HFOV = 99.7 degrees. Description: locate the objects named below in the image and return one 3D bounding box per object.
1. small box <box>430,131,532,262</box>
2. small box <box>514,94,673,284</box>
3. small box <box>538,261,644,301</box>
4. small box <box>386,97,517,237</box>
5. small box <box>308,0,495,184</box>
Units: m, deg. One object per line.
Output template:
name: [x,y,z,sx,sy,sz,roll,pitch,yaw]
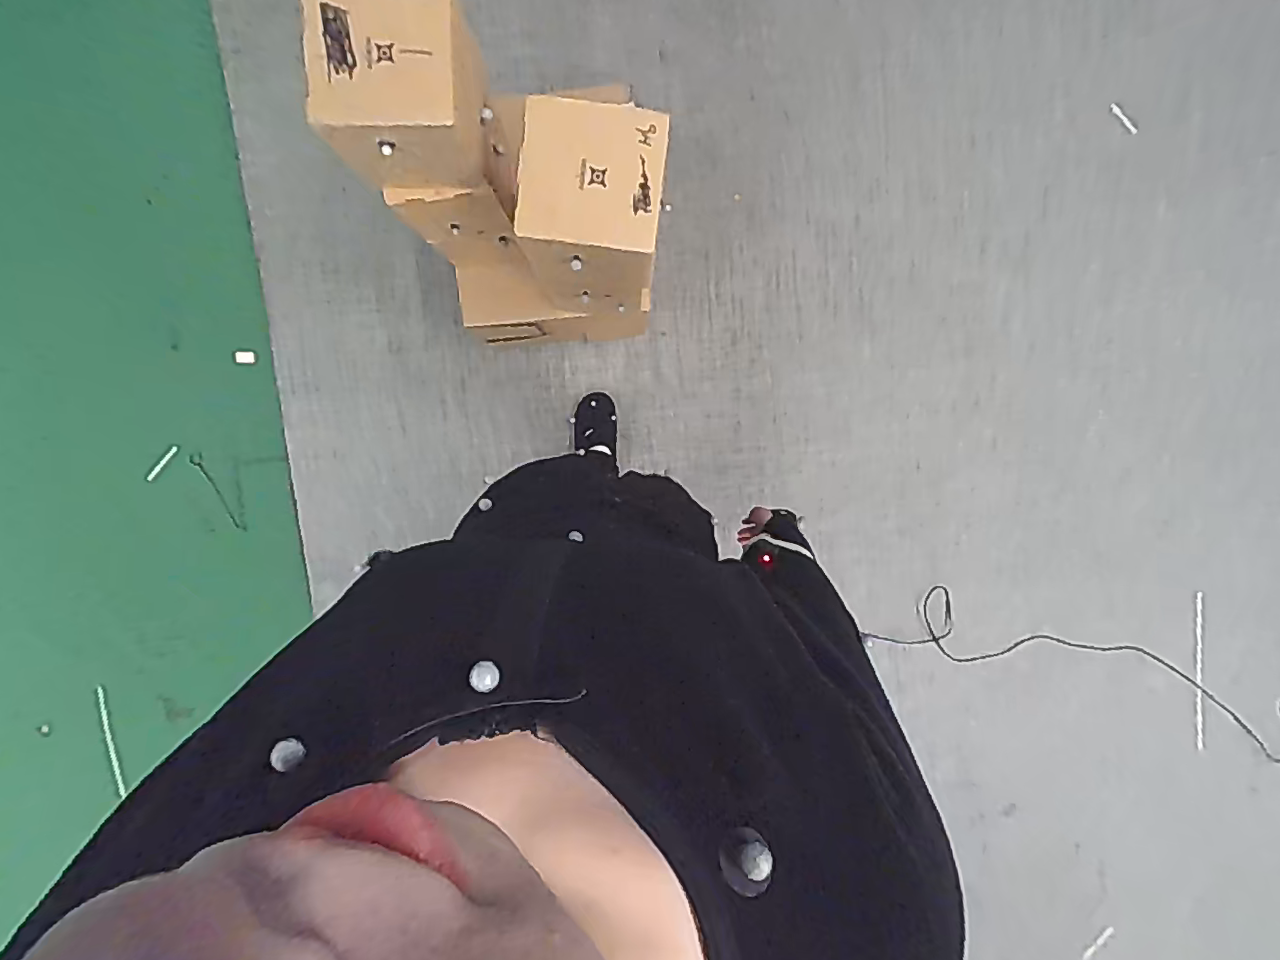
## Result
small box: [-0.300,-0.534,1.040,0.179,0.176,0.168,-7,94,0]
small box: [-0.056,-0.374,0.728,0.179,0.176,0.168,8,96,-1]
small box: [-0.071,-0.408,0.890,0.168,0.176,0.179,3,96,-1]
small box: [-0.302,-0.518,0.878,0.168,0.176,0.179,-5,96,0]
small box: [-0.301,-0.511,0.713,0.179,0.176,0.168,0,96,-1]
